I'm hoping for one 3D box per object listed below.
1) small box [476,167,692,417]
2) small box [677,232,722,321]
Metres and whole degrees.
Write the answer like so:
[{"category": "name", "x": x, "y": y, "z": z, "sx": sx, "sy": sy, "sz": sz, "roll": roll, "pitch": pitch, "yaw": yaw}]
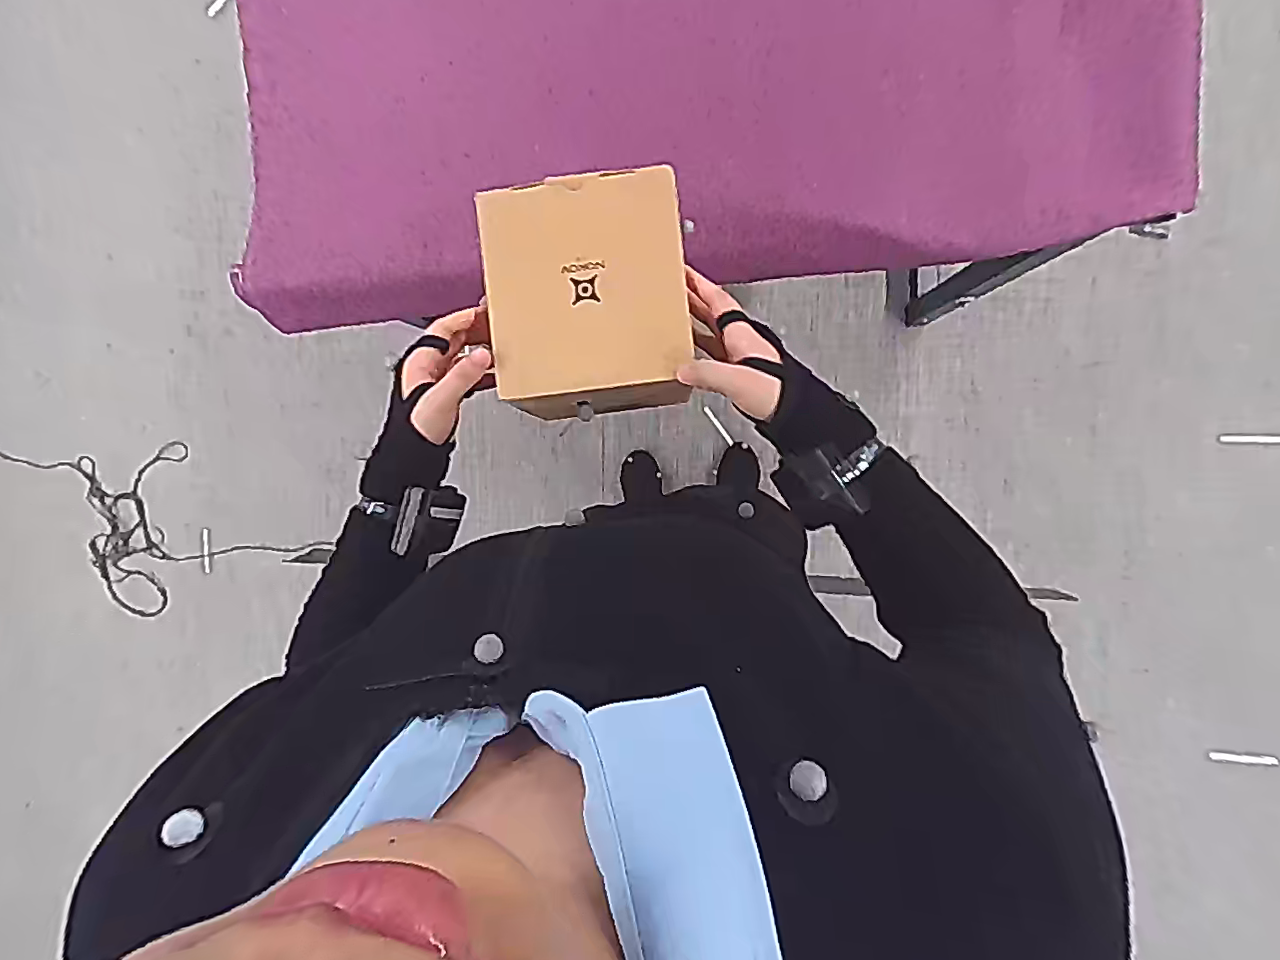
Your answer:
[{"category": "small box", "x": -0.041, "y": -0.160, "z": 0.524, "sx": 0.168, "sy": 0.176, "sz": 0.179, "roll": -8, "pitch": 89, "yaw": 3}, {"category": "small box", "x": 0.118, "y": -0.503, "z": 1.359, "sx": 0.168, "sy": 0.176, "sz": 0.179, "roll": 2, "pitch": 94, "yaw": 6}]
